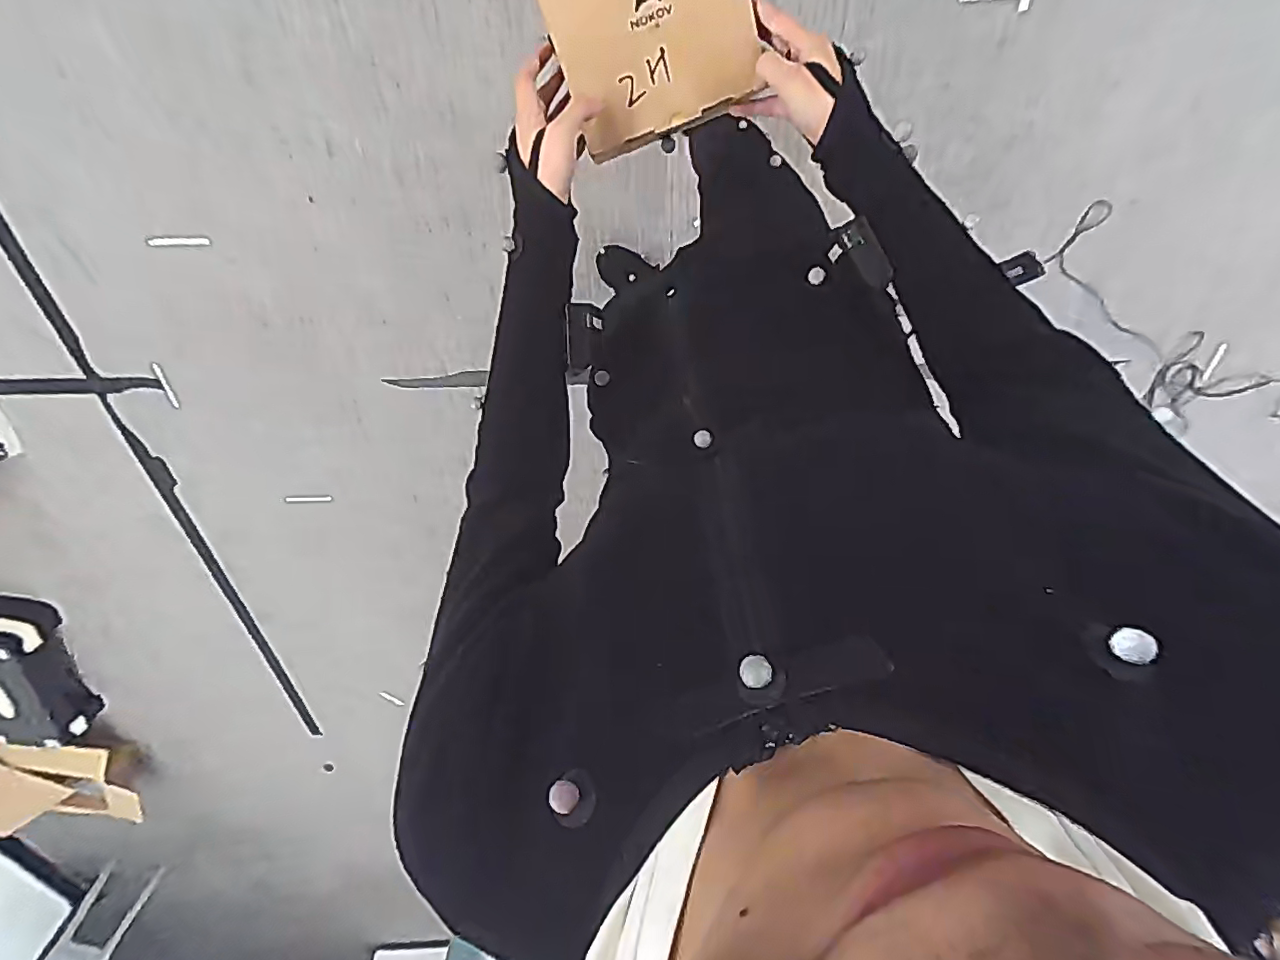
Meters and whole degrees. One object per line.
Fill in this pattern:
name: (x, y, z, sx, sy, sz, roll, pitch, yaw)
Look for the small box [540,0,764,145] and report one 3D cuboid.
small box: (-0.003, -0.437, 0.497, 0.168, 0.176, 0.179, -18, 117, 6)
